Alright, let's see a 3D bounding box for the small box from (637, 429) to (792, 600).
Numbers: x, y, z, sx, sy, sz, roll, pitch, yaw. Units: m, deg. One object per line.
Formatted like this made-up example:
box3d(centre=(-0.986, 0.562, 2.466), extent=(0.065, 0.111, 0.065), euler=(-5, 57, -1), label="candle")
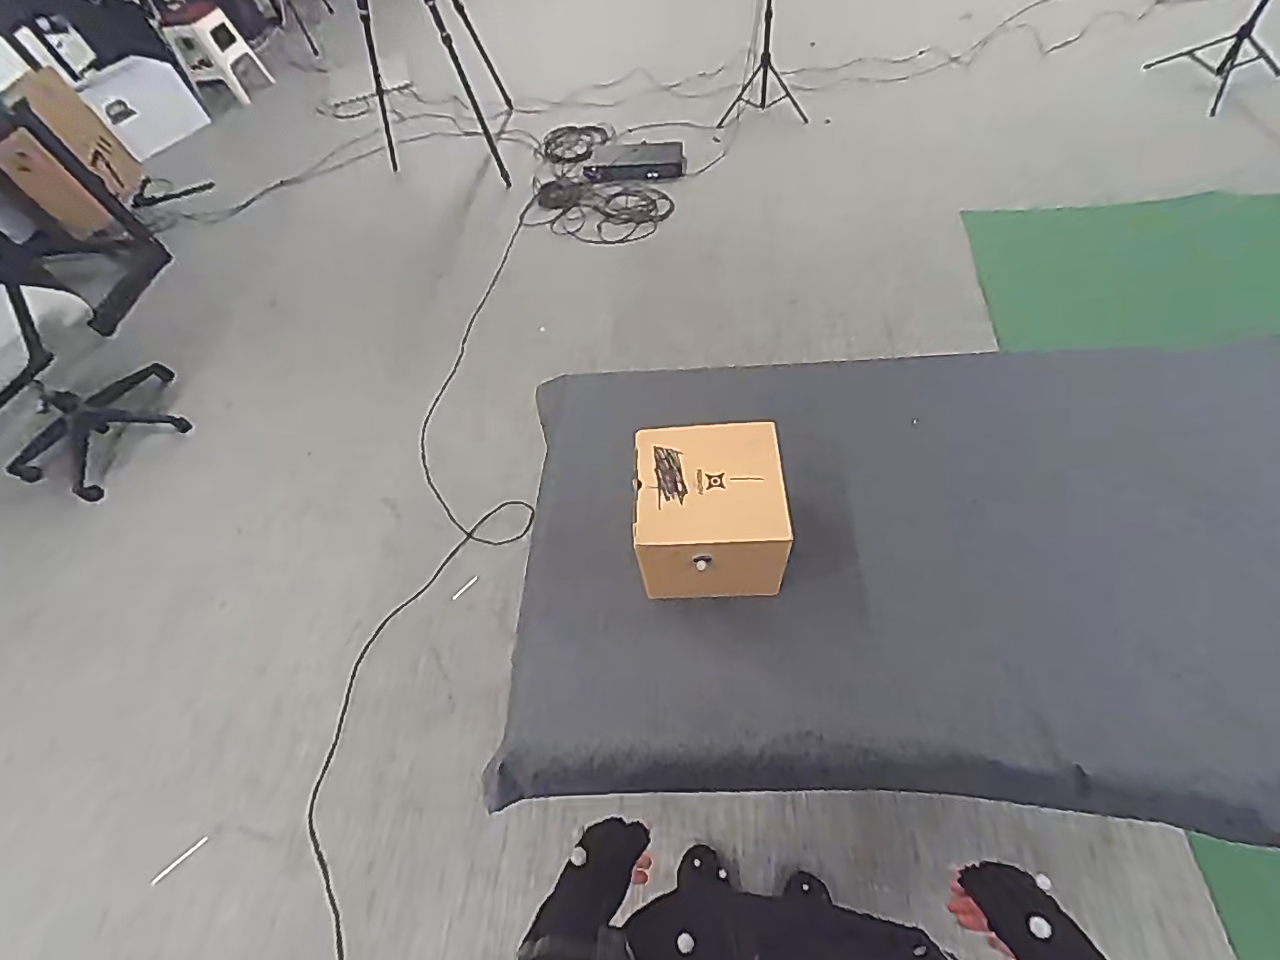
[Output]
box3d(centre=(0.094, 0.052, 0.710), extent=(0.179, 0.176, 0.168), euler=(-2, 57, 6), label="small box")
